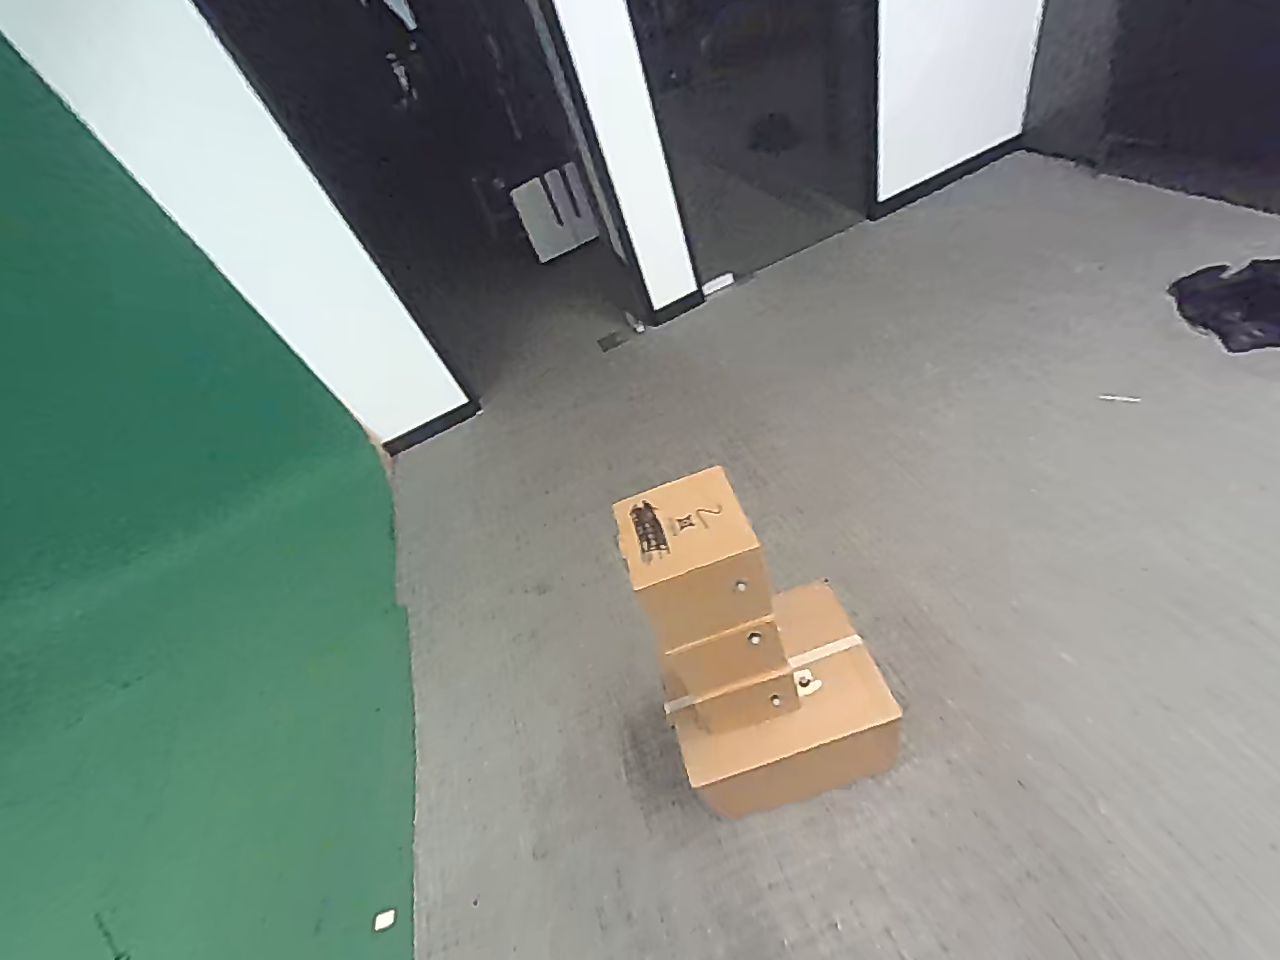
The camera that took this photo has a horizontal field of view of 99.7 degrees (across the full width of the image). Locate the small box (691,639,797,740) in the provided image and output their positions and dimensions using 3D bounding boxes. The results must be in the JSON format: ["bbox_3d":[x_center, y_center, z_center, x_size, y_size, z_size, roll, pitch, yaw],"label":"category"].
[{"bbox_3d":[0.180,0.353,1.006,0.179,0.176,0.168,-22,43,4],"label":"small box"}]

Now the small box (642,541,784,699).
[{"bbox_3d":[0.123,0.238,0.906,0.179,0.176,0.168,-21,43,3],"label":"small box"}]

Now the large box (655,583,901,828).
[{"bbox_3d":[0.289,0.494,1.176,0.408,0.320,0.320,-21,45,2],"label":"large box"}]
